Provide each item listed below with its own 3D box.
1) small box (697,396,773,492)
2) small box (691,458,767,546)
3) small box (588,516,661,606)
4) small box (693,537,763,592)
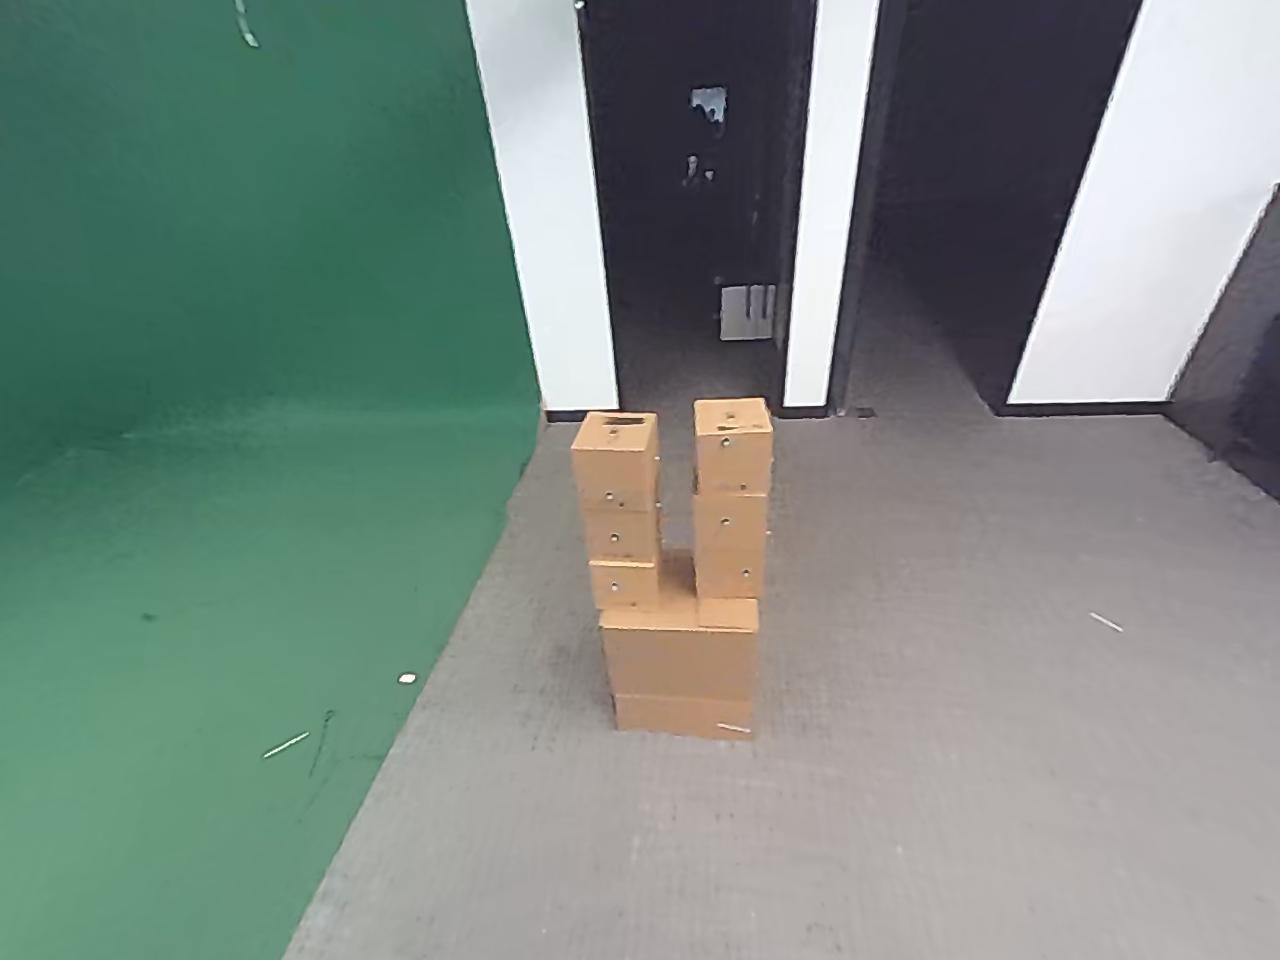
[{"bbox_3d":[0.220,-0.088,1.288,0.168,0.176,0.179,-2,33,6],"label":"small box"},{"bbox_3d":[0.223,0.055,1.371,0.179,0.176,0.168,-1,34,9],"label":"small box"},{"bbox_3d":[-0.035,0.218,1.451,0.168,0.176,0.179,2,35,8],"label":"small box"},{"bbox_3d":[0.233,0.190,1.463,0.179,0.176,0.168,-1,34,7],"label":"small box"}]
